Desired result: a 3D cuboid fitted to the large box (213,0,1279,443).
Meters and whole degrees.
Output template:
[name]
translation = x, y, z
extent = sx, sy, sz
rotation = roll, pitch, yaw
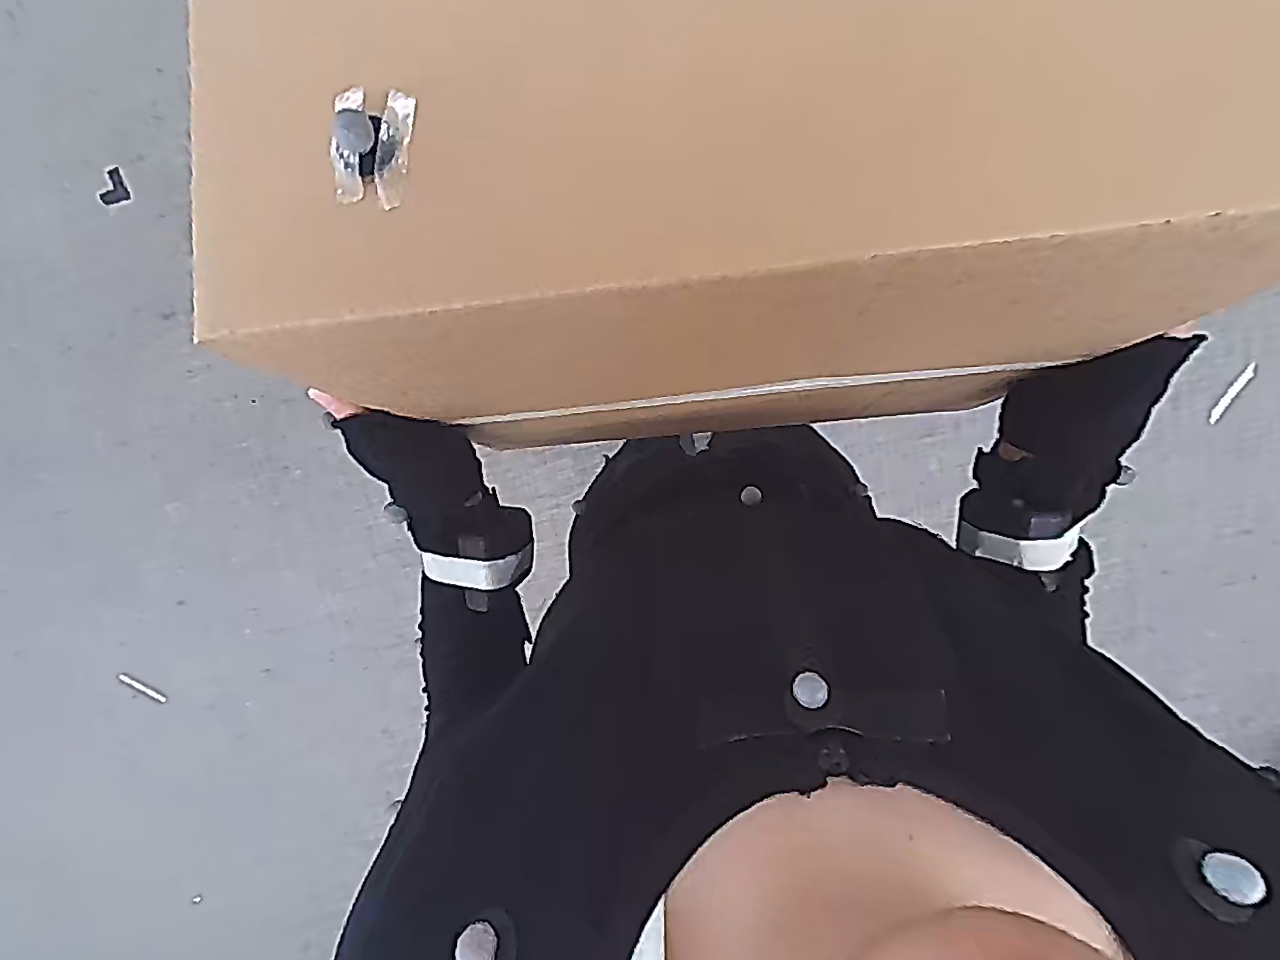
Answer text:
[large box]
translation = 0.041, -0.213, 0.341
extent = 0.408, 0.320, 0.320
rotation = -5, 86, 5
